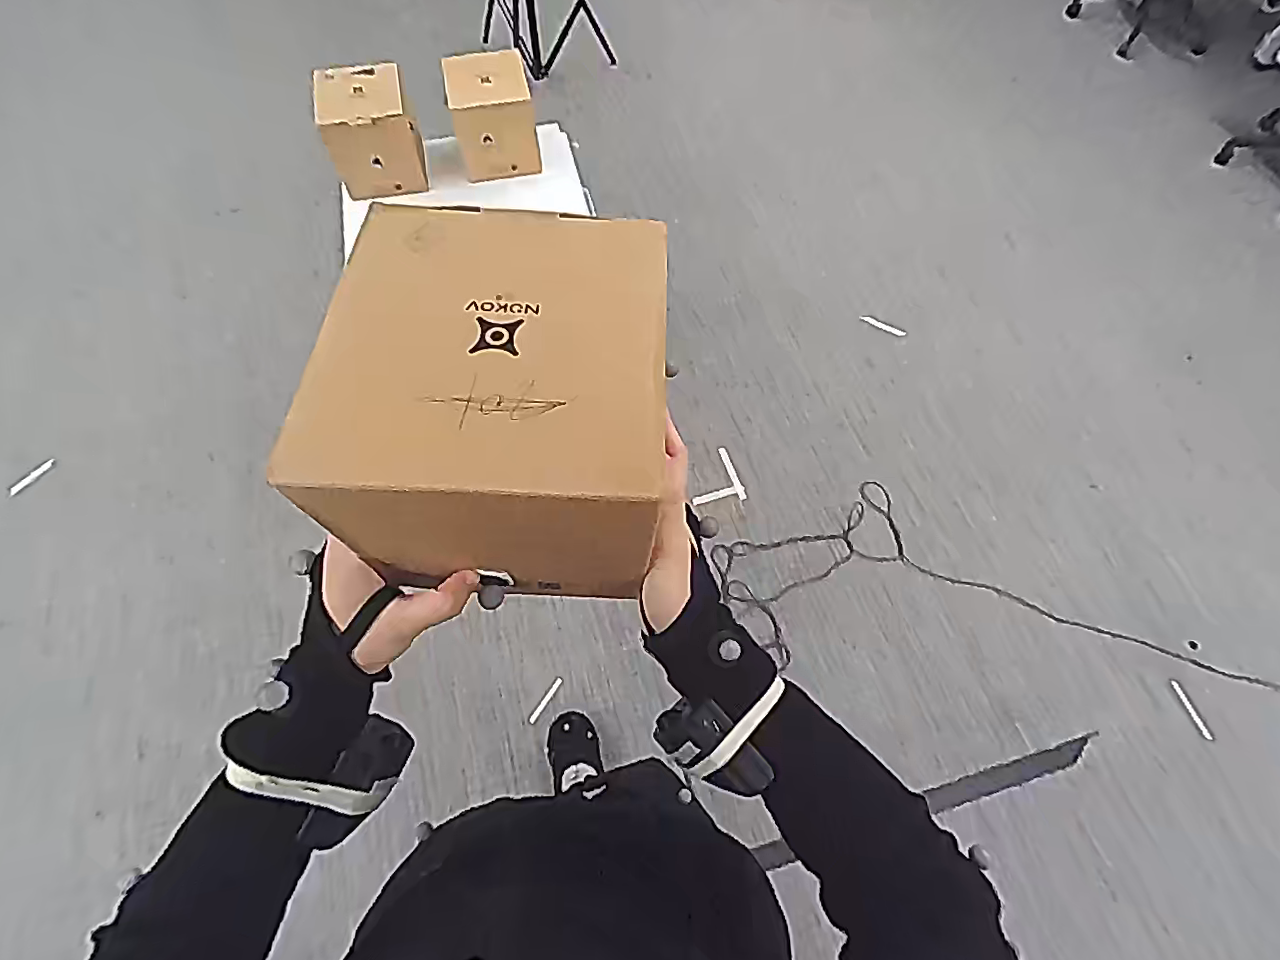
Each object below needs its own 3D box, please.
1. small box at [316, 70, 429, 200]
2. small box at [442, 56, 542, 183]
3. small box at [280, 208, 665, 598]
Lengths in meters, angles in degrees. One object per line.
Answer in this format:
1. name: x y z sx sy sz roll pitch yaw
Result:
1. small box: -0.561 -0.722 1.150 0.168 0.176 0.179 -12 68 -8
2. small box: -0.319 -0.780 1.186 0.168 0.176 0.179 -13 67 -7
3. small box: -0.074 -0.036 0.339 0.168 0.176 0.179 2 64 -2
